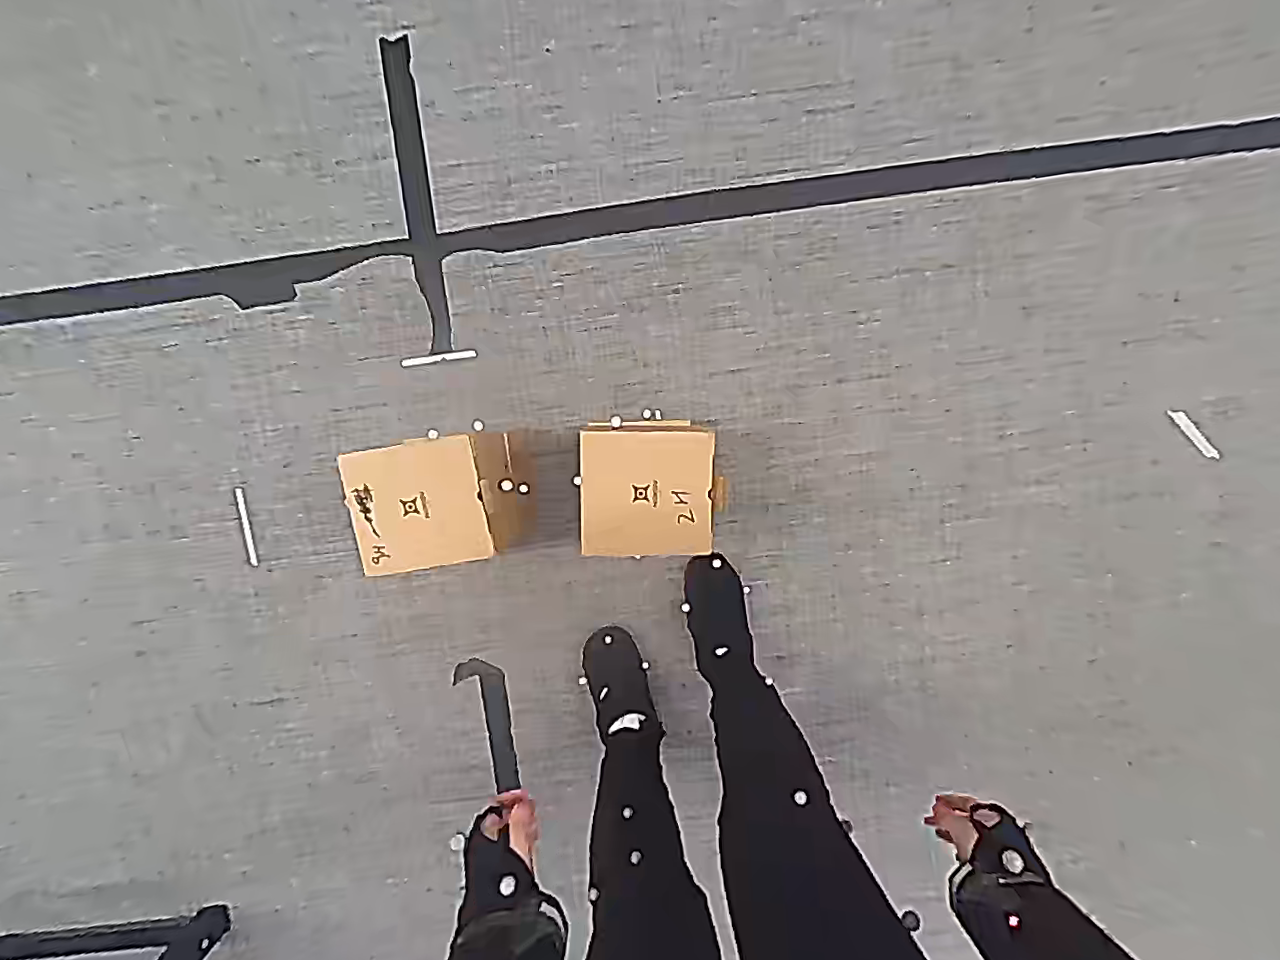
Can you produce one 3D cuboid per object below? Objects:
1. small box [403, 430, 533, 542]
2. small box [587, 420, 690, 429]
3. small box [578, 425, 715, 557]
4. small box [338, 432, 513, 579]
[{"bbox_3d":[-0.285,0.008,0.931,0.168,0.176,0.179,-4,97,-1],"label":"small box"},{"bbox_3d":[-0.003,-0.014,0.938,0.168,0.176,0.179,-1,97,-2],"label":"small box"},{"bbox_3d":[0.005,0.009,0.775,0.179,0.176,0.168,0,98,-2],"label":"small box"},{"bbox_3d":[-0.286,0.026,0.768,0.179,0.176,0.168,-9,97,-1],"label":"small box"}]
